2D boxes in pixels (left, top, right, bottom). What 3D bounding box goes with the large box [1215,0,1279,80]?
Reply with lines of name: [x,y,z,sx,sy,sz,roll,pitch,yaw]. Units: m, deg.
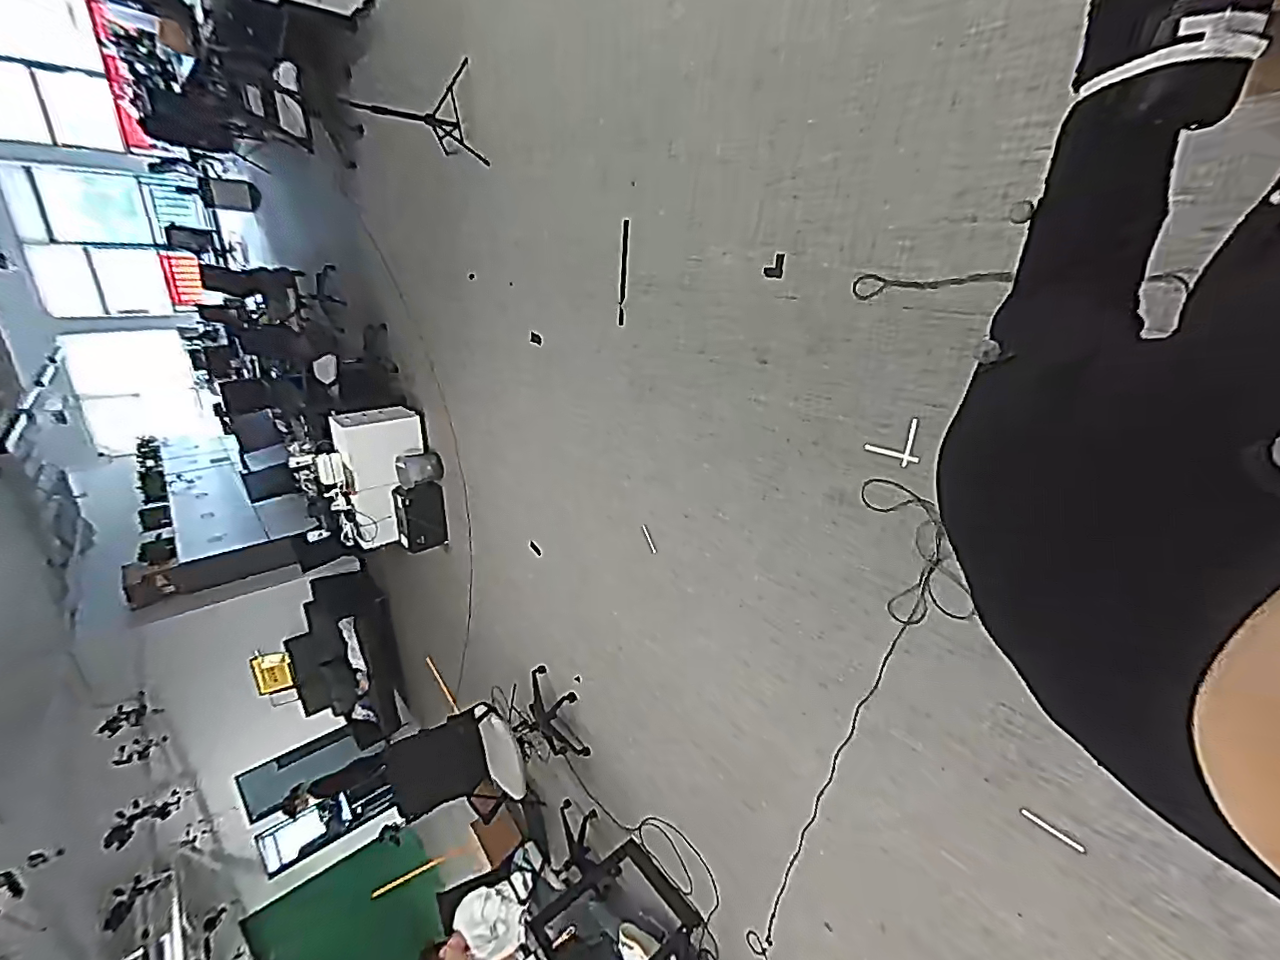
large box: [0.597,-0.456,0.250,0.408,0.320,0.320,16,120,47]
